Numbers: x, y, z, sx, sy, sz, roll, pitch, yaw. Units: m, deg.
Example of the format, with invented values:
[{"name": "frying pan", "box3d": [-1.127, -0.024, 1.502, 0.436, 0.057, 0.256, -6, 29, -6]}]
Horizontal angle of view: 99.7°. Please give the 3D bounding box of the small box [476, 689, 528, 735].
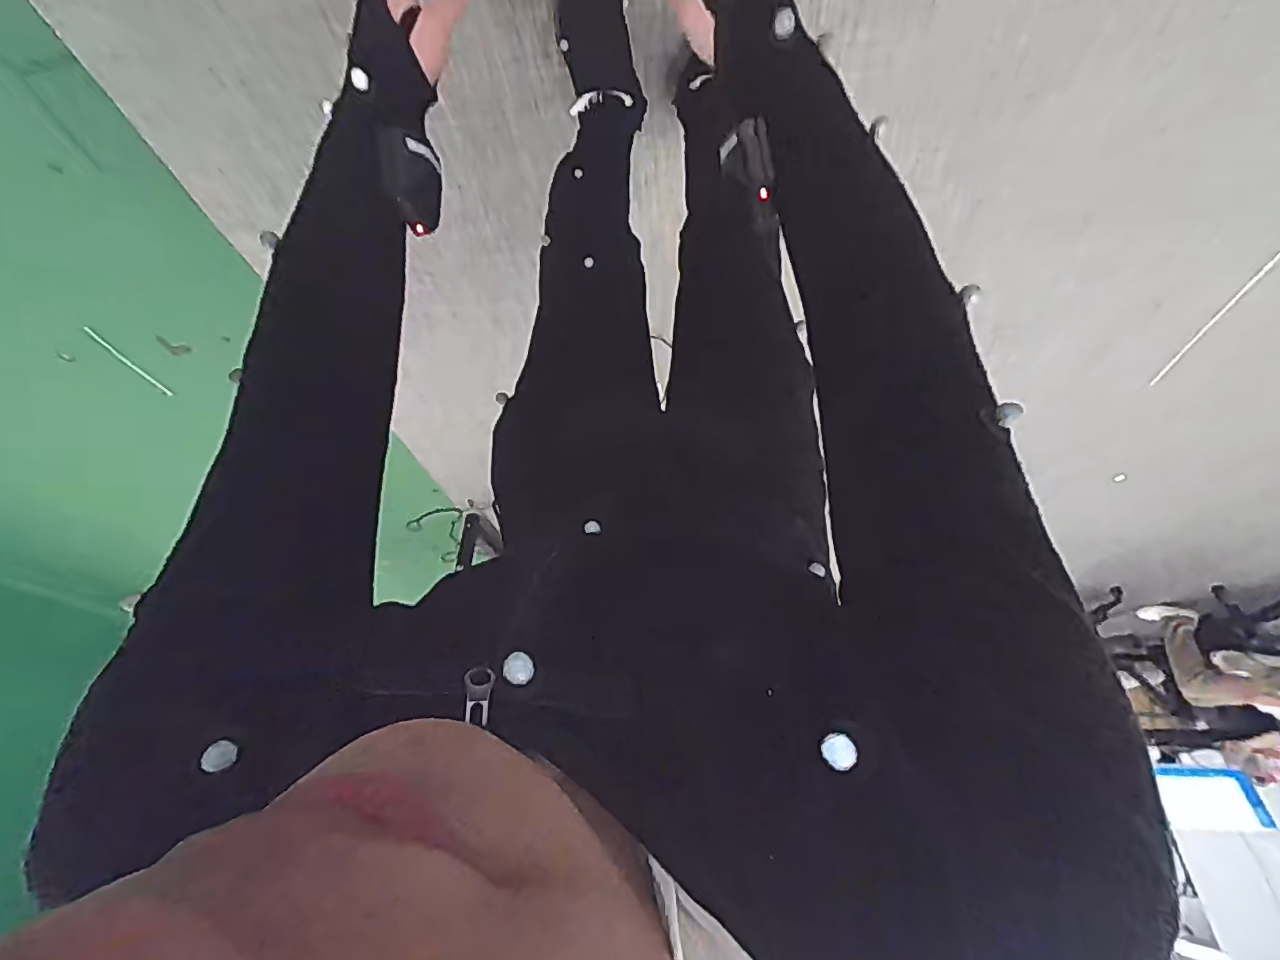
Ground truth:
[{"name": "small box", "box3d": [-0.610, 1.040, 2.415, 0.168, 0.176, 0.179, -4, 149, 7]}]
